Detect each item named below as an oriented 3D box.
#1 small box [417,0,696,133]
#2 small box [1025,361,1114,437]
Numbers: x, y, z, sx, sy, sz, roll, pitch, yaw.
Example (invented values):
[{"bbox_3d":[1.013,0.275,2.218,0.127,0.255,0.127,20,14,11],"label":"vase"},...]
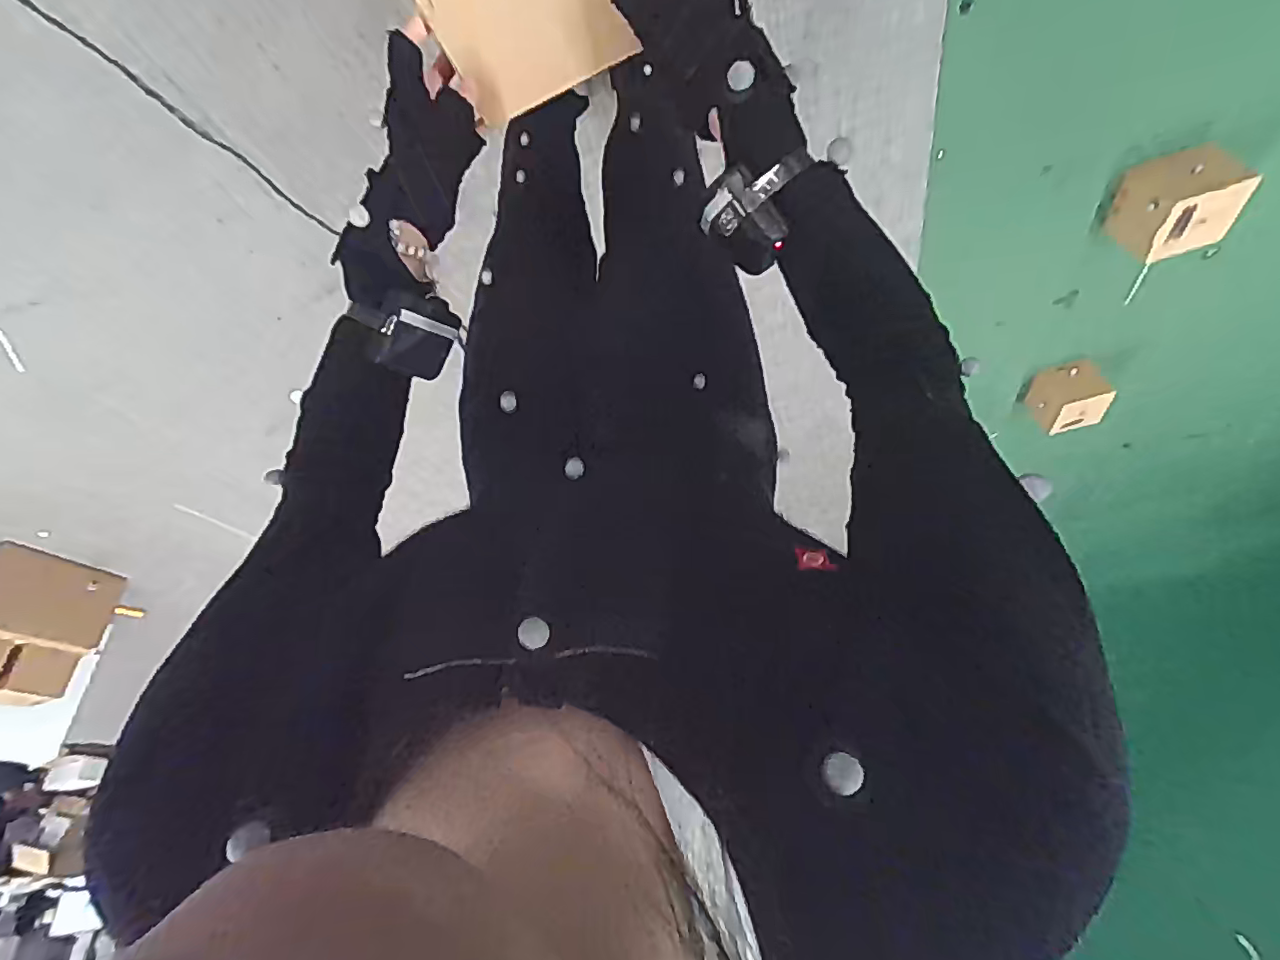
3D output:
[{"bbox_3d":[-0.075,-0.408,0.397,0.179,0.176,0.168,-17,141,15],"label":"small box"},{"bbox_3d":[1.493,-0.283,1.896,0.168,0.176,0.179,-16,145,11],"label":"small box"}]
